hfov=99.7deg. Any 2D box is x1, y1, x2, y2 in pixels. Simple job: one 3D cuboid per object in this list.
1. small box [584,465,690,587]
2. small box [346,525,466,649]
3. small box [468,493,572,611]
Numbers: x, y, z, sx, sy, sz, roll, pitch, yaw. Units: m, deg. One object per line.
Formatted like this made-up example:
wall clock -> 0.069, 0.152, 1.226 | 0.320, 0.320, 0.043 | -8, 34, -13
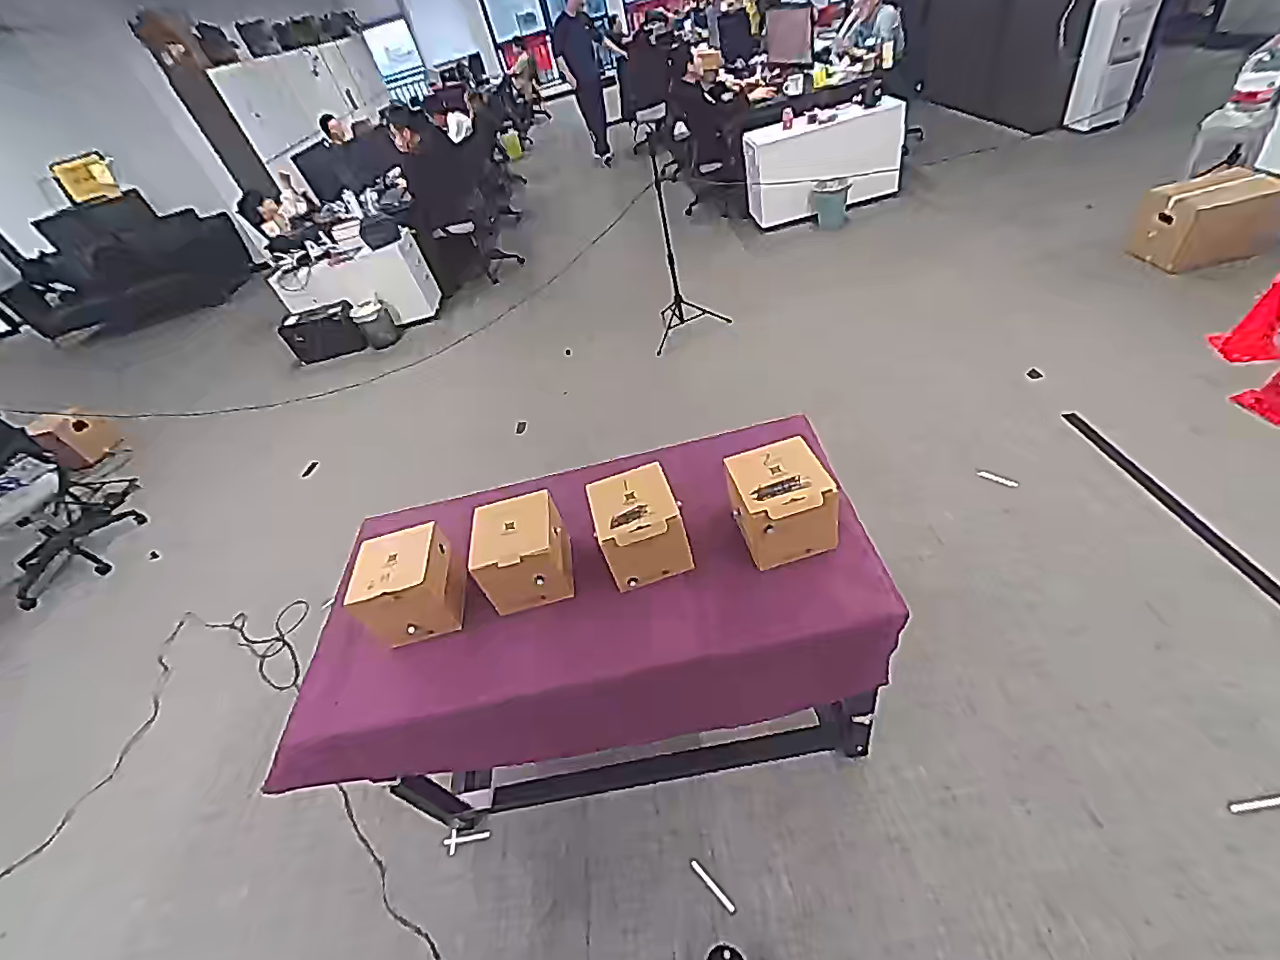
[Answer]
small box -> -0.004, 0.103, 1.135 | 0.168, 0.176, 0.179 | -19, 41, -2
small box -> -0.490, 0.232, 1.162 | 0.168, 0.176, 0.179 | -17, 42, 2
small box -> -0.249, 0.162, 1.159 | 0.168, 0.176, 0.179 | -15, 42, 2
